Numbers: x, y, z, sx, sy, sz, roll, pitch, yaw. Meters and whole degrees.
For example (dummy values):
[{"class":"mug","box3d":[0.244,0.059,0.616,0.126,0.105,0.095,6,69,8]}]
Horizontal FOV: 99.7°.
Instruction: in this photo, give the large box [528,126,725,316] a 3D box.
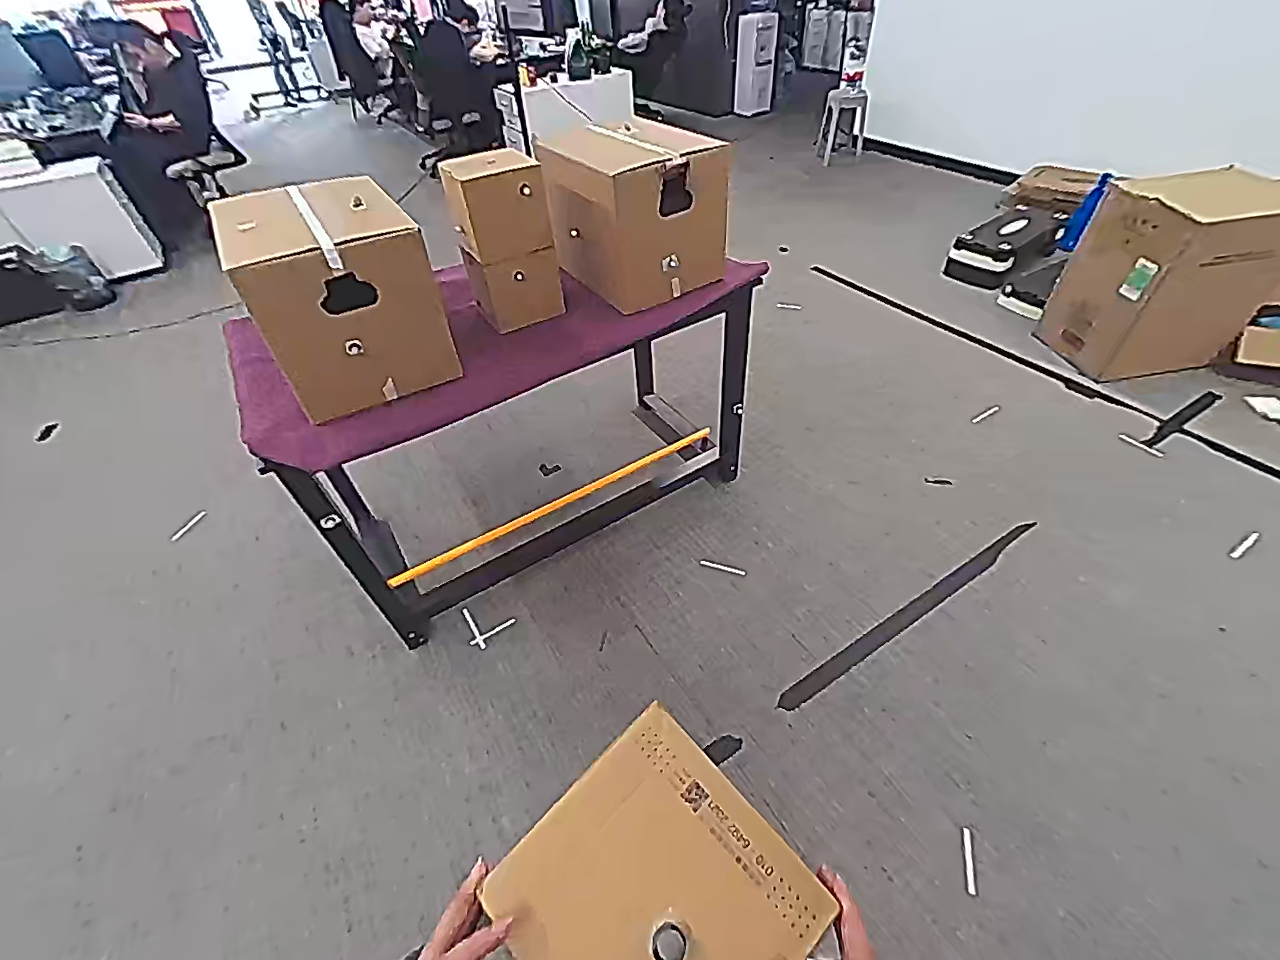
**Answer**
[{"class":"large box","box3d":[-0.031,-0.665,1.367,0.320,0.320,0.408,-27,47,-22]}]
